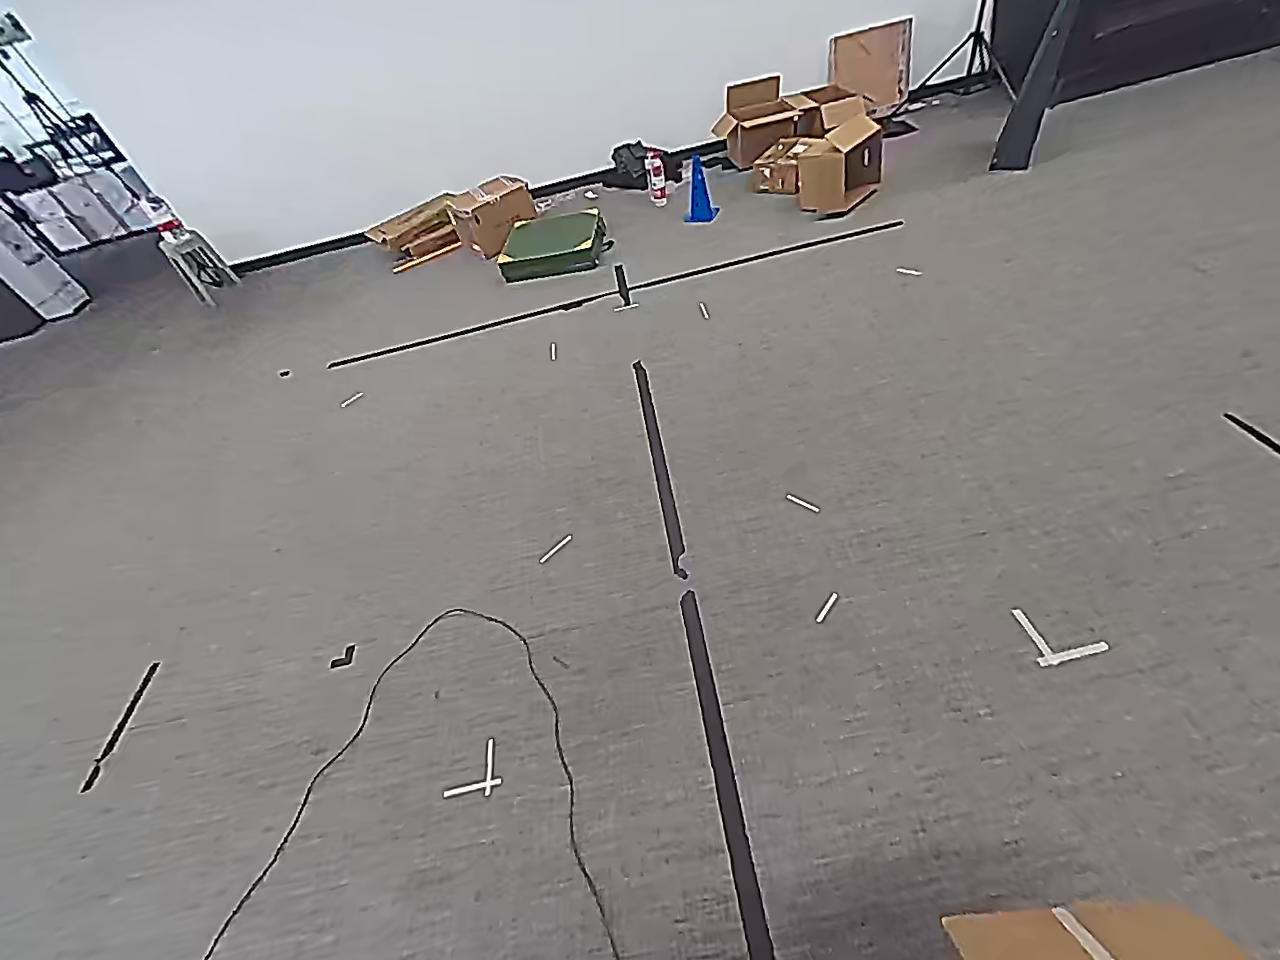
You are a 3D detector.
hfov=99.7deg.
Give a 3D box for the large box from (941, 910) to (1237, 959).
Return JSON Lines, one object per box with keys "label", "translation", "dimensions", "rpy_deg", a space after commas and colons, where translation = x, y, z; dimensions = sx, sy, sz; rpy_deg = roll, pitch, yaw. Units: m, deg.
{"label": "large box", "translation": [0.564, 0.726, 0.527], "dimensions": [0.320, 0.408, 0.320], "rpy_deg": [-11, 83, 7]}
